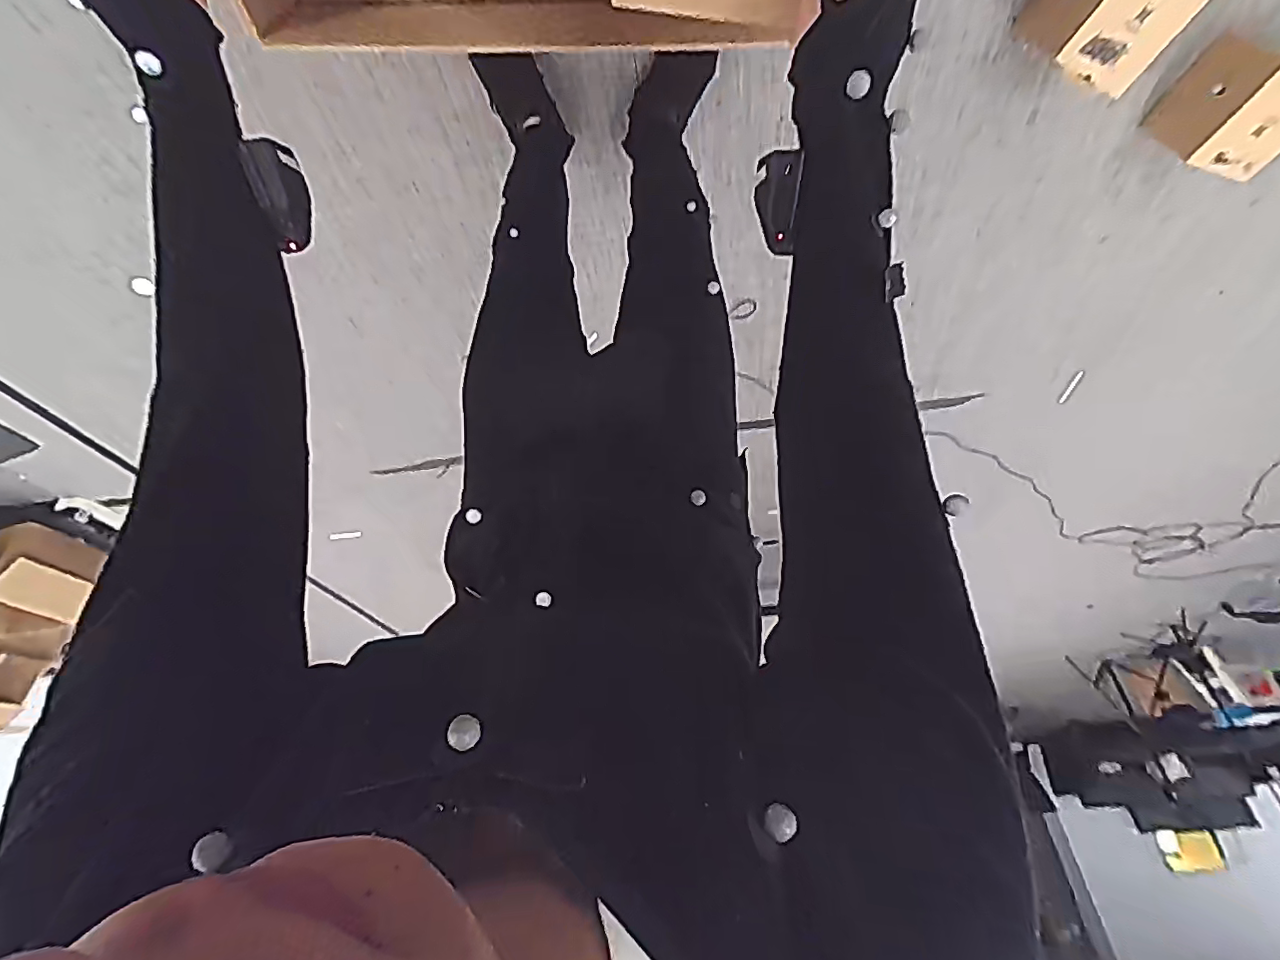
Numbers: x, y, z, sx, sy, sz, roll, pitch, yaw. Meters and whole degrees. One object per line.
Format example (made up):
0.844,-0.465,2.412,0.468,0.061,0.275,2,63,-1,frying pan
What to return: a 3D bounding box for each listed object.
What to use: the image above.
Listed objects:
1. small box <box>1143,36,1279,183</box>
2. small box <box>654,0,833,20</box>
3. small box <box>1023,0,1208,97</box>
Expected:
1.167,-0.728,1.060,0.168,0.176,0.179,8,142,-13,small box
0.071,-0.485,0.403,0.179,0.176,0.168,2,147,-6,small box
0.804,-0.814,0.926,0.168,0.176,0.179,12,141,-19,small box
